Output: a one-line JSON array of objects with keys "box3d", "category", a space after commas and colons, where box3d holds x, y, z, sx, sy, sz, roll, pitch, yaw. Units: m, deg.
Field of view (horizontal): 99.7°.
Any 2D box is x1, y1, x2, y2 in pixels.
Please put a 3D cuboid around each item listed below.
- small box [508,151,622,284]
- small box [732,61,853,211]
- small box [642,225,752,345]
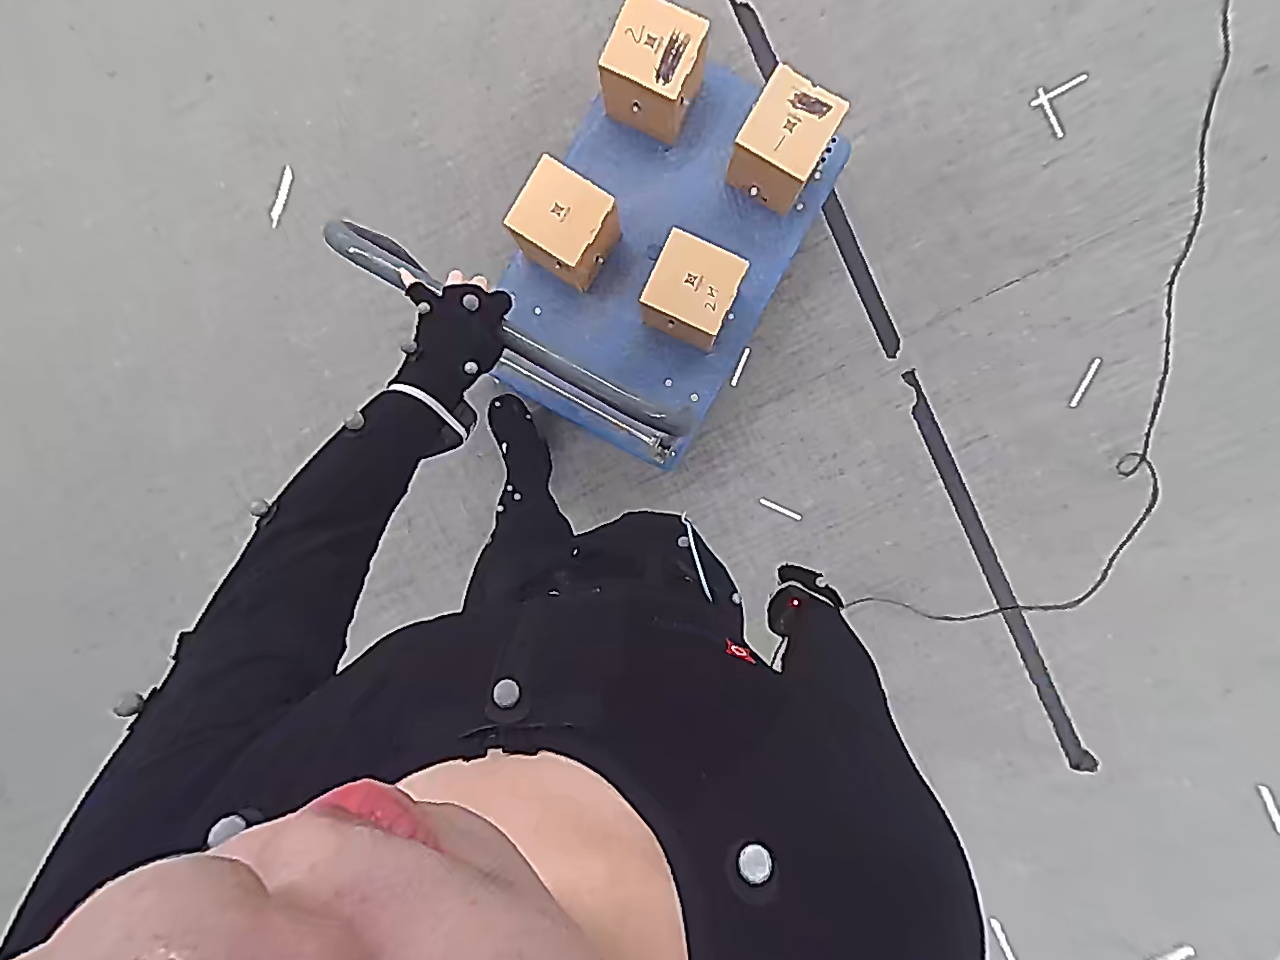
[{"box3d": [-0.155, -0.556, 1.176, 0.179, 0.176, 0.168, 32, 93, -2], "category": "small box"}, {"box3d": [0.312, -0.718, 1.150, 0.168, 0.176, 0.179, 31, 95, 0], "category": "small box"}, {"box3d": [0.118, -0.411, 1.173, 0.179, 0.176, 0.168, 26, 94, 0], "category": "small box"}]
